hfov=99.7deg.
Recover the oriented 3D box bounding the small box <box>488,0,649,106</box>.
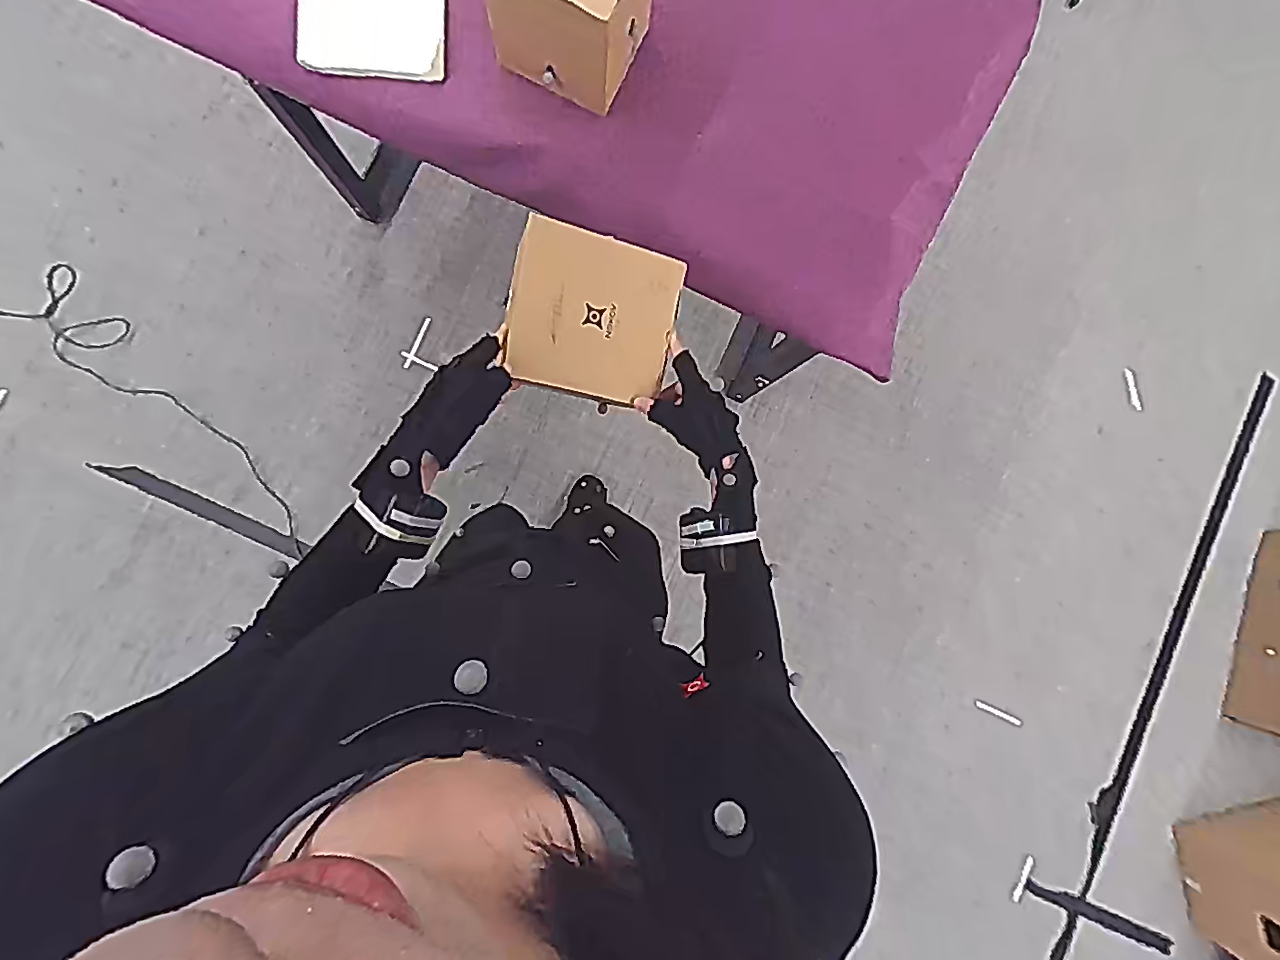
[{"bbox_3d":[-0.090,-0.656,0.729,0.179,0.176,0.168,25,85,-5],"label":"small box"}]

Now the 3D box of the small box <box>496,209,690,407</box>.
[{"bbox_3d":[-0.065,-0.186,0.638,0.179,0.176,0.168,10,95,-18],"label":"small box"}]
